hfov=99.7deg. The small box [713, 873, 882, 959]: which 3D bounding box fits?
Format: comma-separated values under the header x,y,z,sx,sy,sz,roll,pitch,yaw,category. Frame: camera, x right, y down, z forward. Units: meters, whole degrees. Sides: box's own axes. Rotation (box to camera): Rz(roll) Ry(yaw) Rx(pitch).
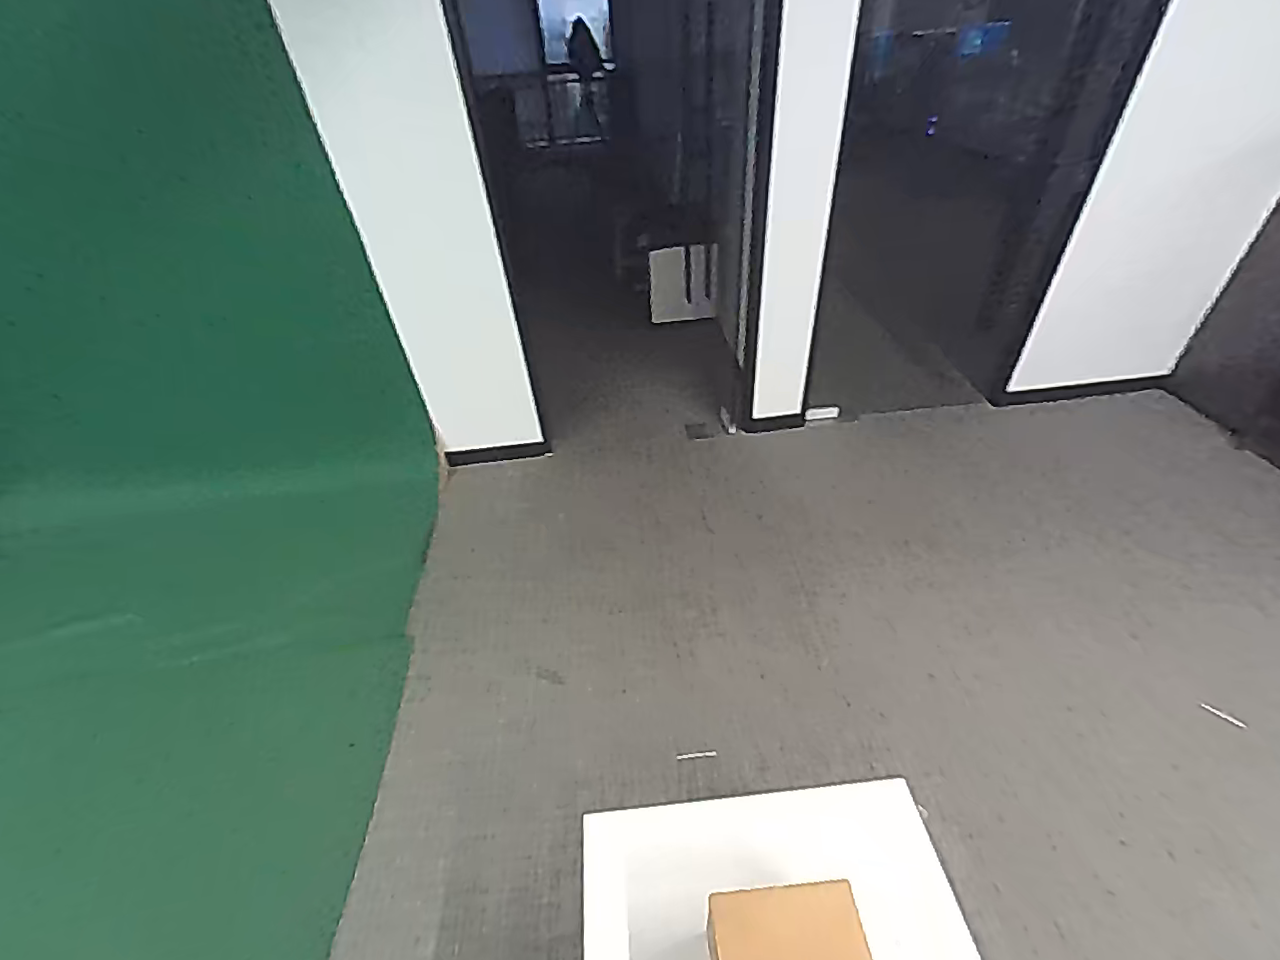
x,y,z,sx,sy,sz,roll,pitch,yaw,category
0.176,0.574,0.601,0.168,0.176,0.179,-6,39,-1,small box
